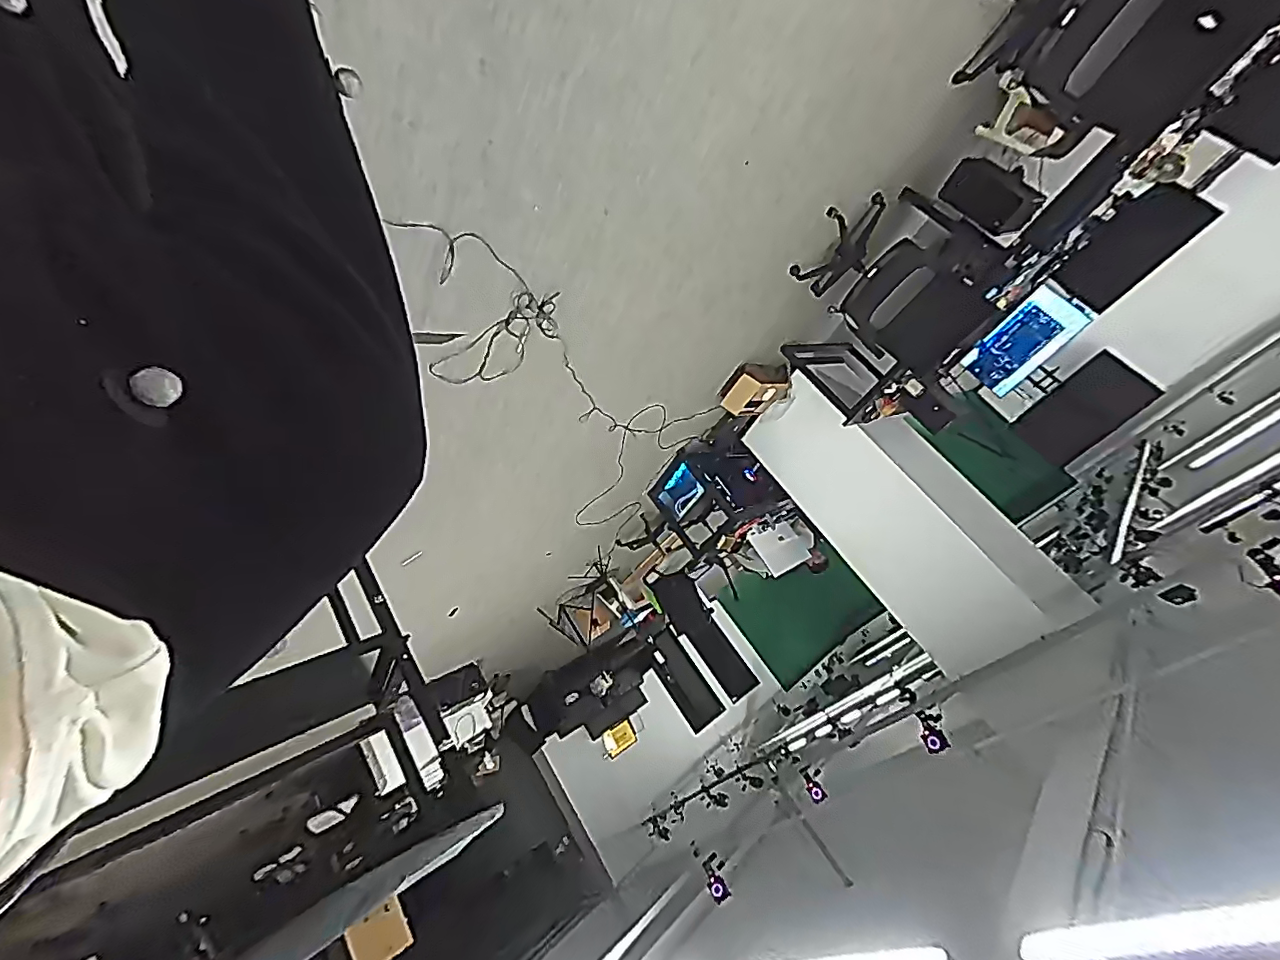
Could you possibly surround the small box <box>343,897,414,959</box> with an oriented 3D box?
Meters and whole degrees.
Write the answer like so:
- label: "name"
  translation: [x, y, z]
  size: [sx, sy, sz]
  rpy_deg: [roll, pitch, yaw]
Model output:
- label: "small box"
  translation: [-0.900, 1.576, 1.852]
  size: [0.168, 0.176, 0.179]
  rpy_deg: [-17, 151, -41]
